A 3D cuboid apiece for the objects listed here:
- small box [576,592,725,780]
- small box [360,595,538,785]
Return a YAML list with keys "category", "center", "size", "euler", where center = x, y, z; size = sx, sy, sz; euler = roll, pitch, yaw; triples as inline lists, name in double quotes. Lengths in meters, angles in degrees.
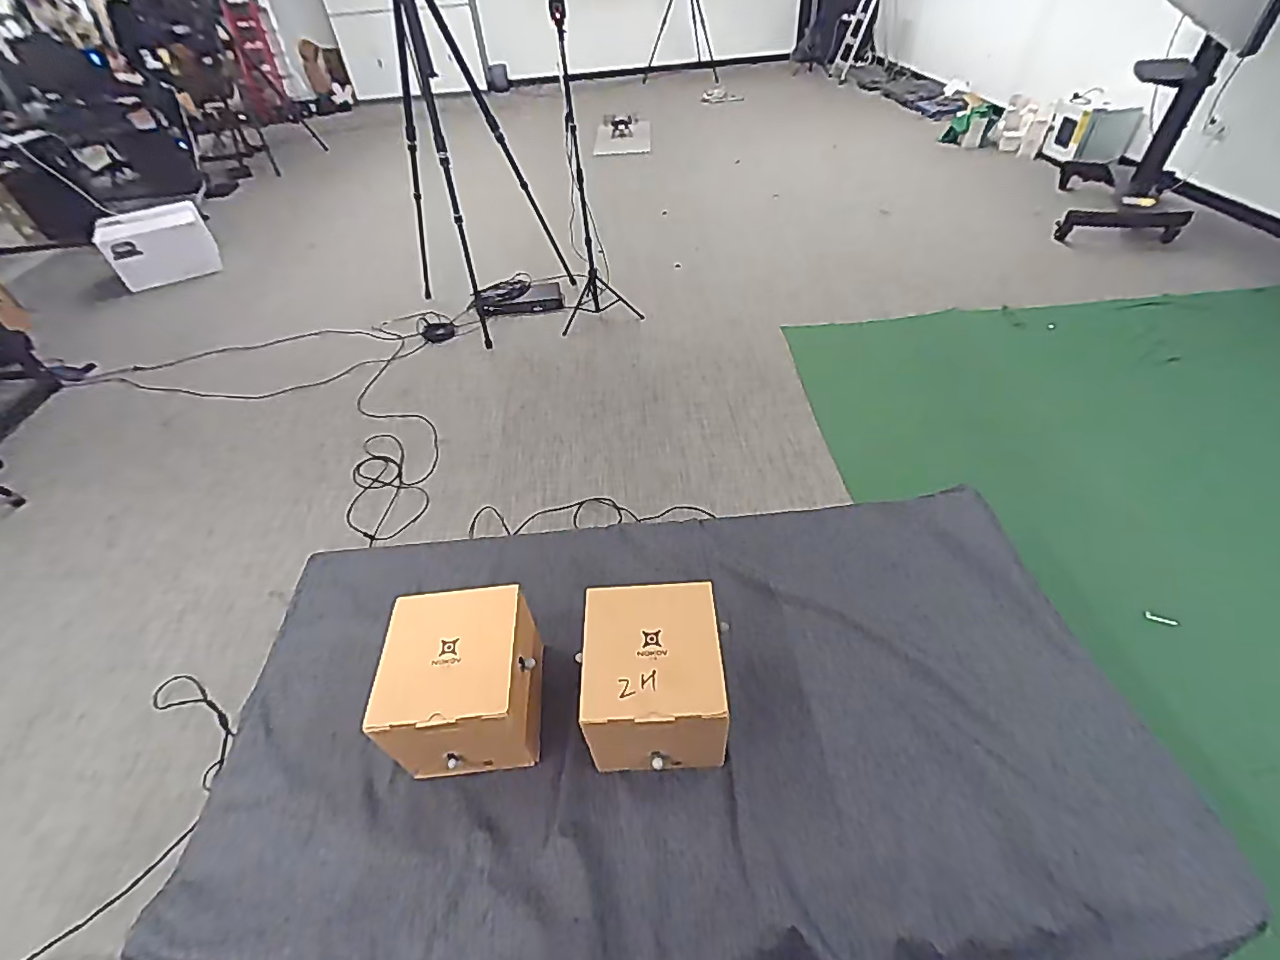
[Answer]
- category: "small box"
  center: [0.015, 0.266, 0.700]
  size: [0.168, 0.176, 0.179]
  euler: [-3, 45, 2]
- category: "small box"
  center: [-0.233, 0.277, 0.714]
  size: [0.168, 0.176, 0.179]
  euler: [-6, 45, -1]
